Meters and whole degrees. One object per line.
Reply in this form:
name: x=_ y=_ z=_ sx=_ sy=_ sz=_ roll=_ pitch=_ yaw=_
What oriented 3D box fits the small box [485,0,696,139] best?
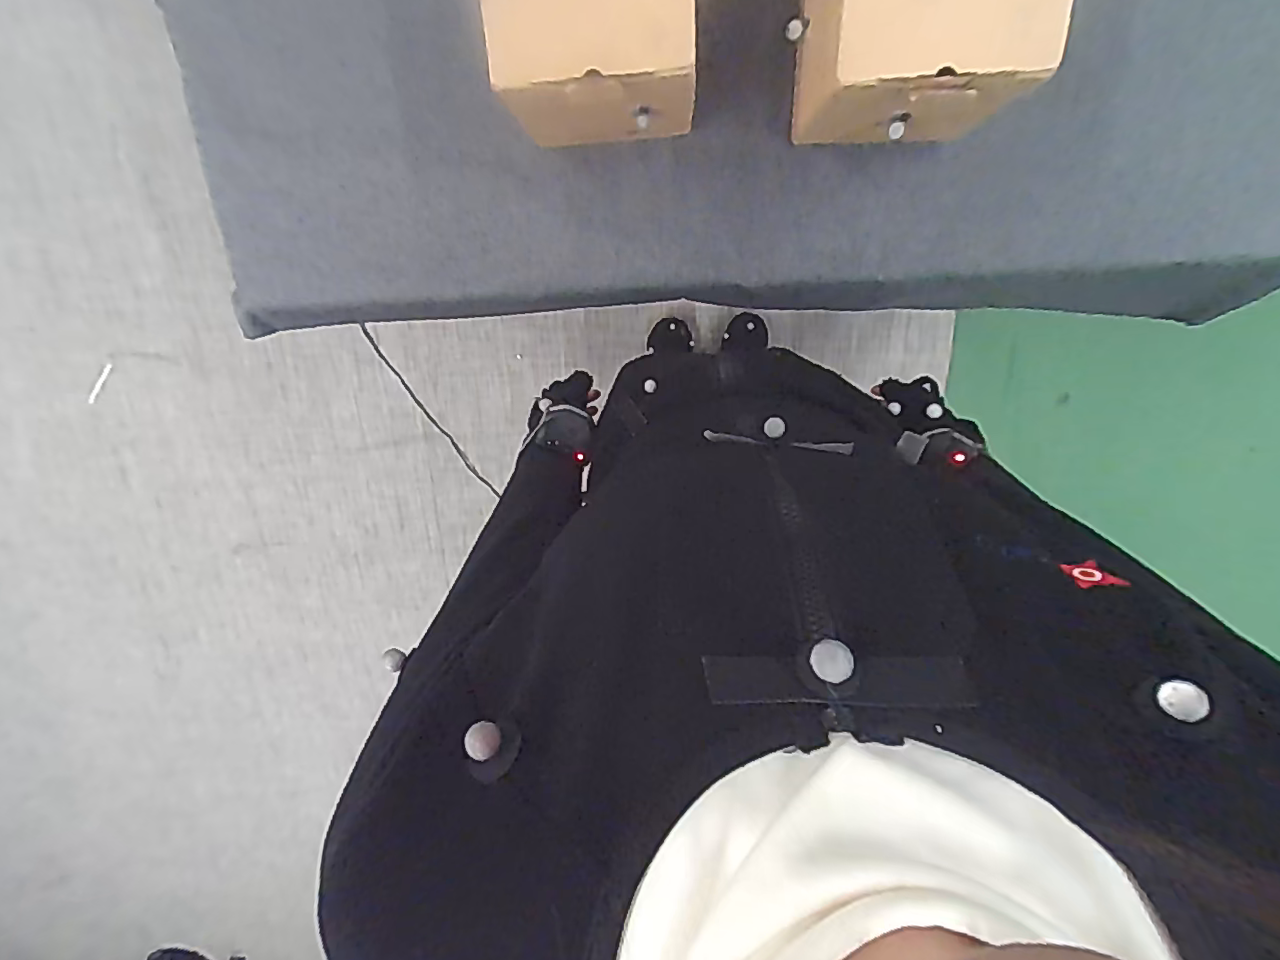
small box: x=-0.037 y=-0.426 z=0.482 sx=0.168 sy=0.176 sz=0.179 roll=-4 pitch=106 yaw=3
